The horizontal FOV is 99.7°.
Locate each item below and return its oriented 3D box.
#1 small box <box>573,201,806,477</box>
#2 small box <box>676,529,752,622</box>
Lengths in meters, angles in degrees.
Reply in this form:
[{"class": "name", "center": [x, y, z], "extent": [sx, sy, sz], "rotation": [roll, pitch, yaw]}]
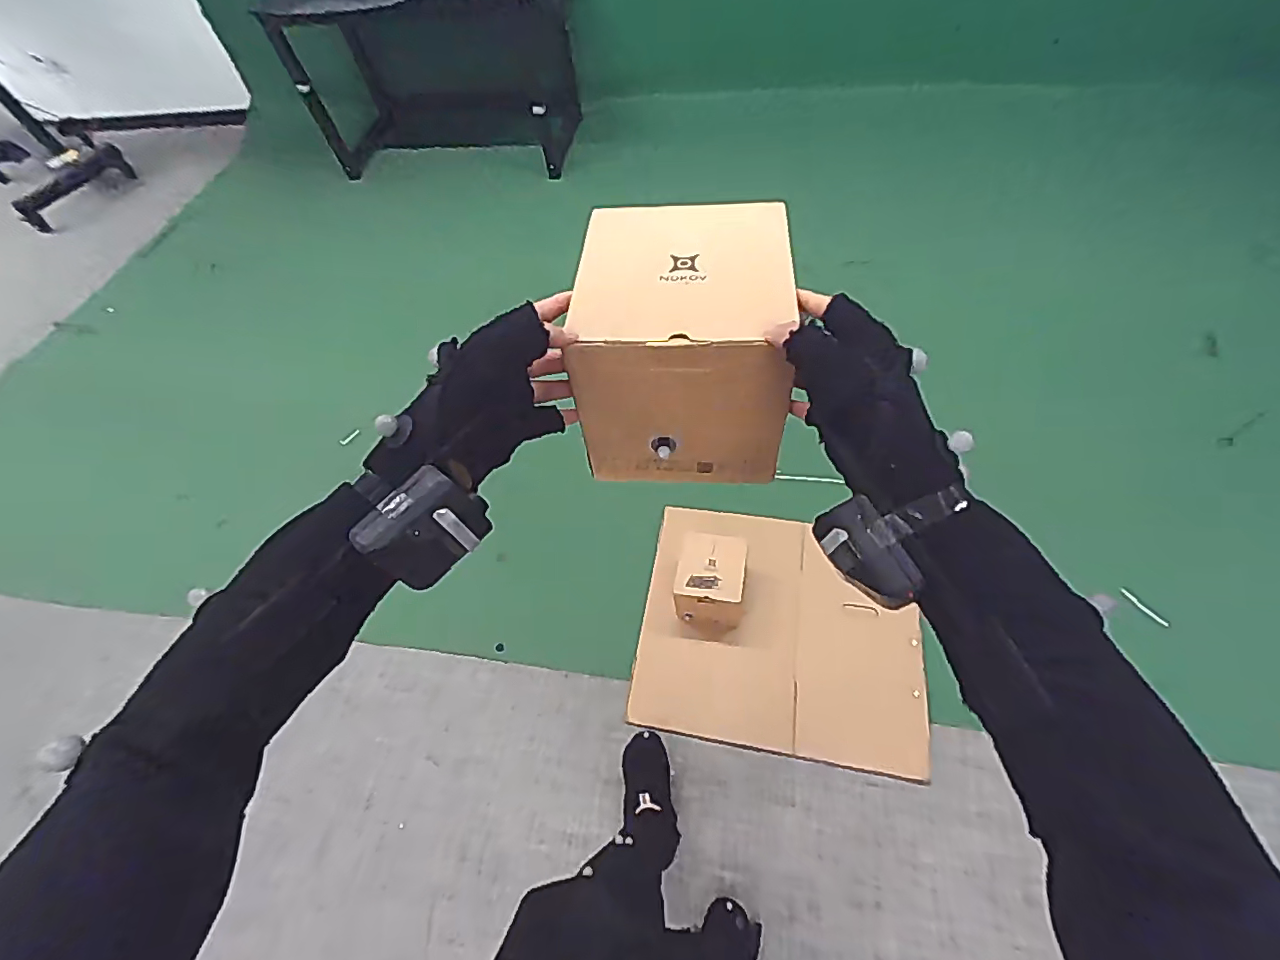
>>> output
[{"class": "small box", "center": [0.045, -0.123, 0.486], "extent": [0.168, 0.176, 0.179], "rotation": [2, 56, 6]}, {"class": "small box", "center": [0.194, 0.250, 1.394], "extent": [0.168, 0.176, 0.179], "rotation": [7, 58, 13]}]
